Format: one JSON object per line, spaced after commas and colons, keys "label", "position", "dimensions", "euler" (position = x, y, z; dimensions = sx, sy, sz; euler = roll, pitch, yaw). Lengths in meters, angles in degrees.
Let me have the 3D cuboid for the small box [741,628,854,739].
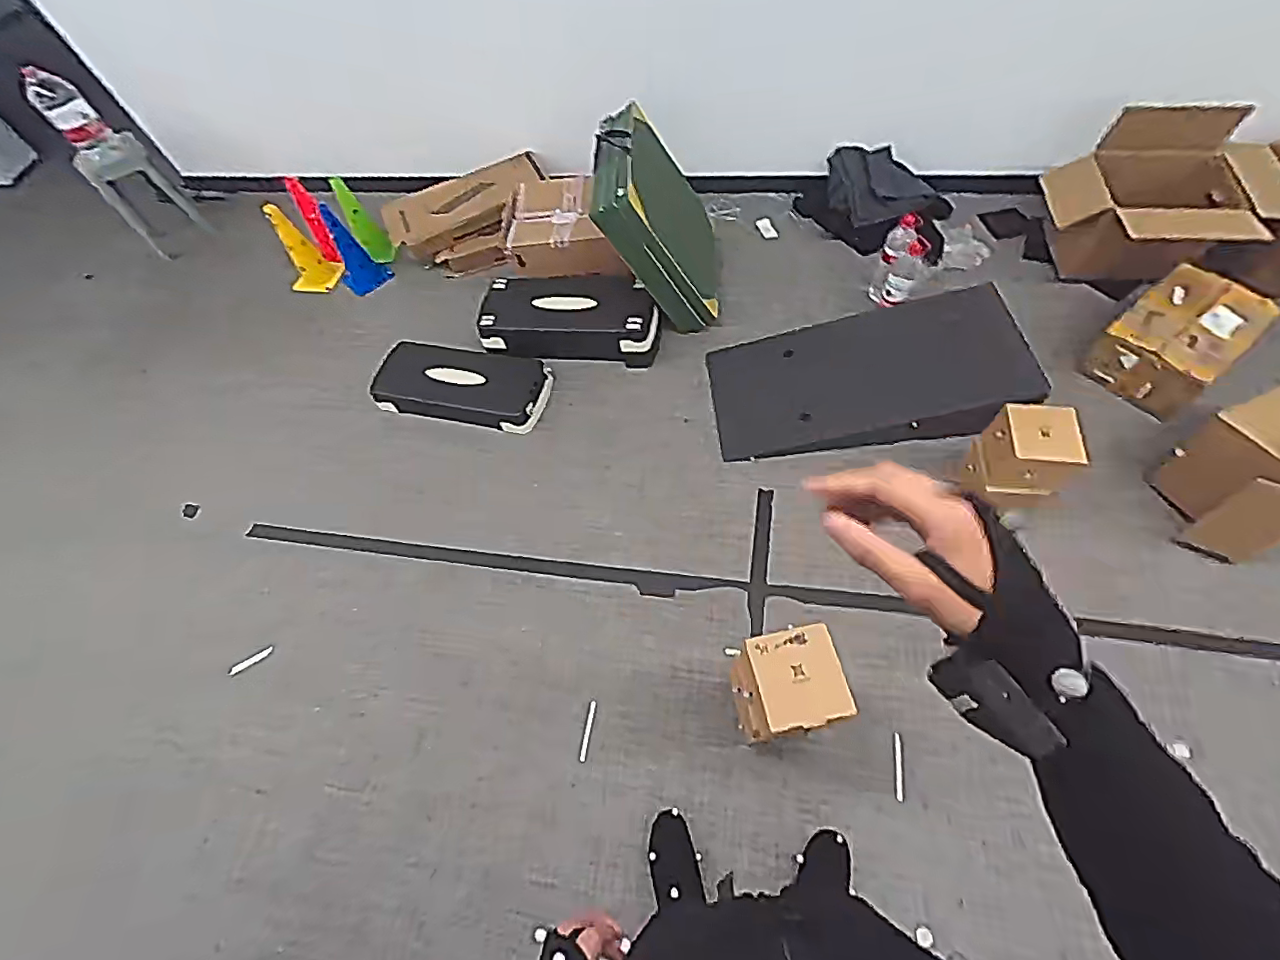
{"label": "small box", "position": [0.310, 0.421, 1.102], "dimensions": [0.168, 0.176, 0.179], "euler": [-12, 61, -1]}
